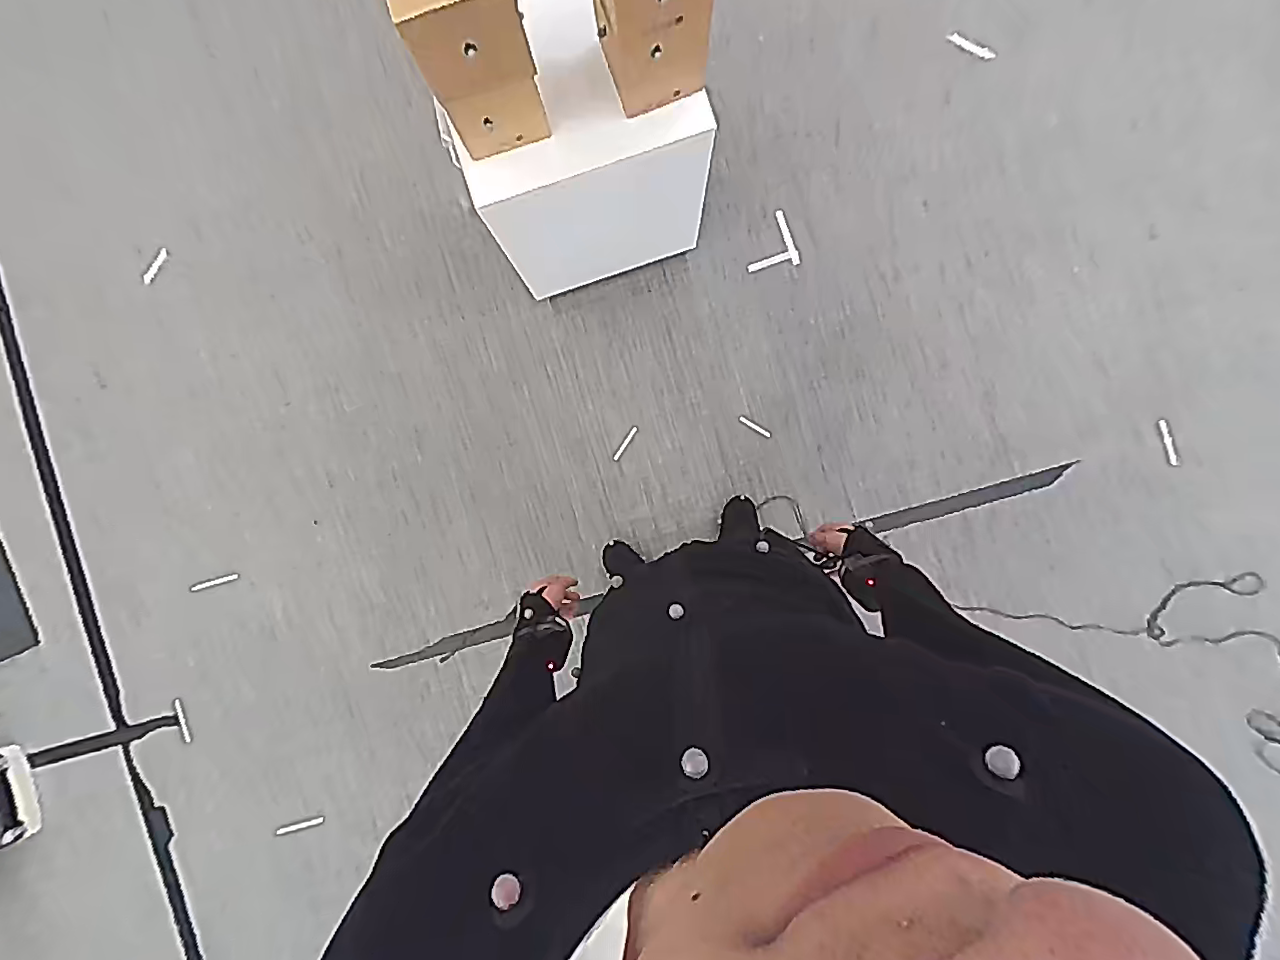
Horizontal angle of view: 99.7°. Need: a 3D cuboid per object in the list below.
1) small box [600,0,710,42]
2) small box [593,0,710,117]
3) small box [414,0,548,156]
[{"bbox_3d":[0.010,-0.815,0.815,0.168,0.176,0.179,-19,89,2],"label":"small box"},{"bbox_3d":[0.017,-0.815,0.980,0.168,0.176,0.179,-20,89,3],"label":"small box"},{"bbox_3d":[-0.280,-0.733,0.993,0.168,0.176,0.179,-17,89,1],"label":"small box"}]
